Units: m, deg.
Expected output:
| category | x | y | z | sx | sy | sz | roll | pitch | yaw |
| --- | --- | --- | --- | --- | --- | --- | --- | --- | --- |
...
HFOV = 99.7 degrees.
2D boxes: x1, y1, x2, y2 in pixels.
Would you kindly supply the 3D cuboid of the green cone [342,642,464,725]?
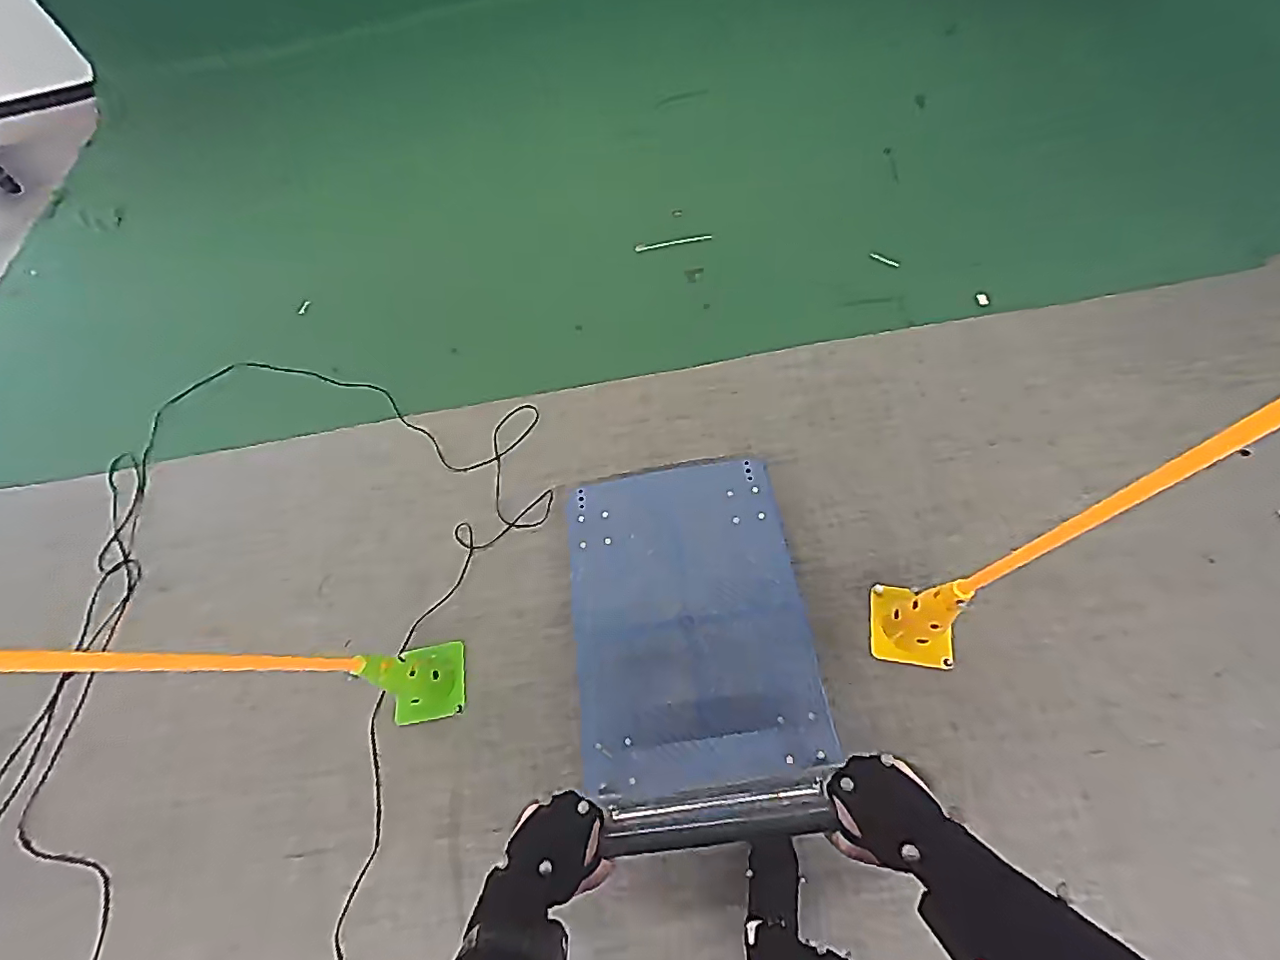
| category | x | y | z | sx | sy | sz | roll | pitch | yaw |
| --- | --- | --- | --- | --- | --- | --- | --- | --- | --- |
| green cone | -0.624 | 0.496 | 1.382 | 0.202 | 0.368 | 0.200 | -14 | 62 | 3 |
